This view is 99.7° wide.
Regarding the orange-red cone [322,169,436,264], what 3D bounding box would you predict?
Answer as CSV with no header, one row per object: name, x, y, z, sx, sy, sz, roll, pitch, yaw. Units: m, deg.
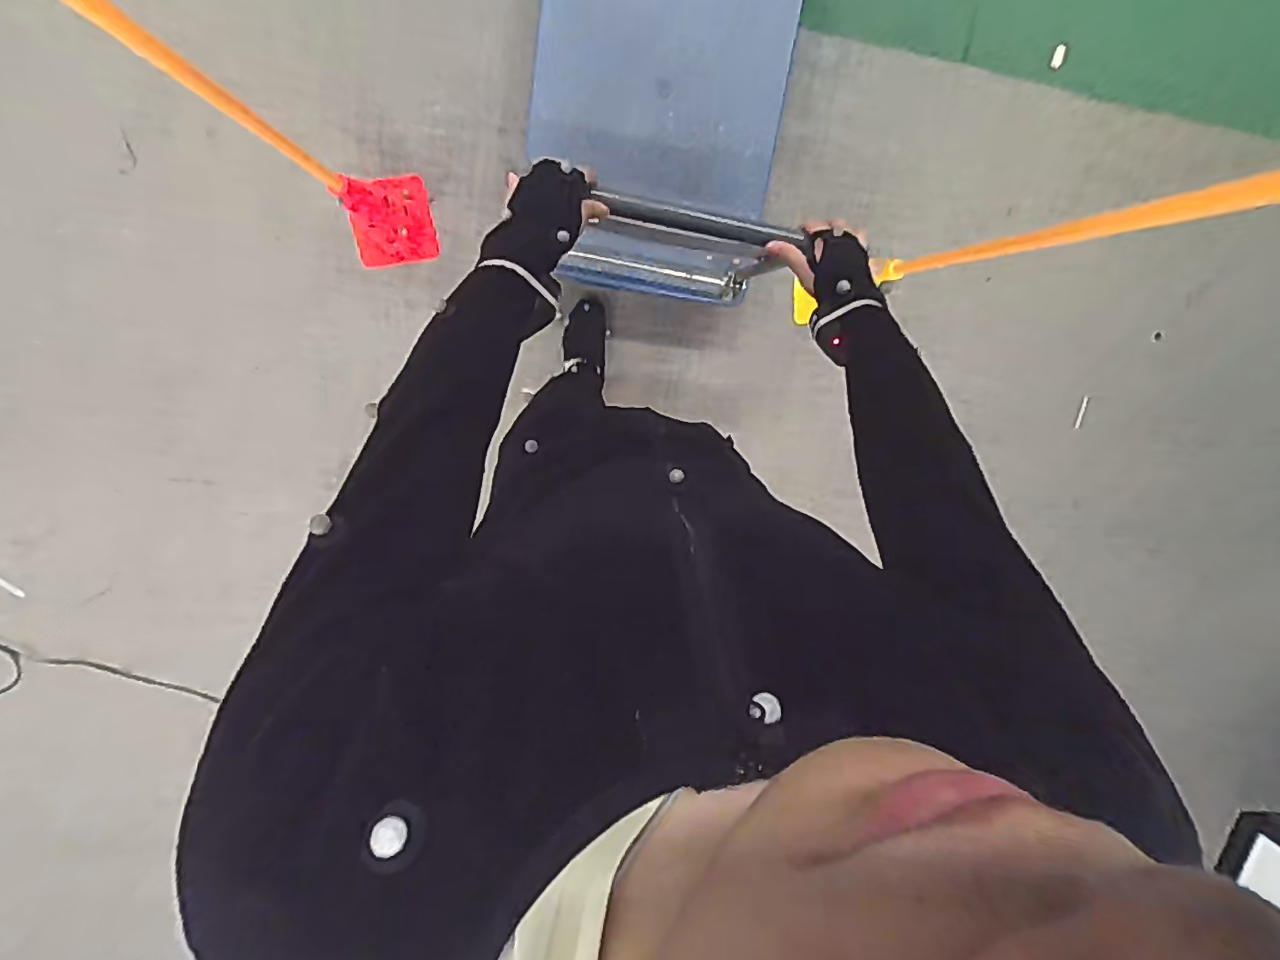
orange-red cone,-0.610,-0.615,1.200,0.199,0.360,0.198,-9,105,-4
